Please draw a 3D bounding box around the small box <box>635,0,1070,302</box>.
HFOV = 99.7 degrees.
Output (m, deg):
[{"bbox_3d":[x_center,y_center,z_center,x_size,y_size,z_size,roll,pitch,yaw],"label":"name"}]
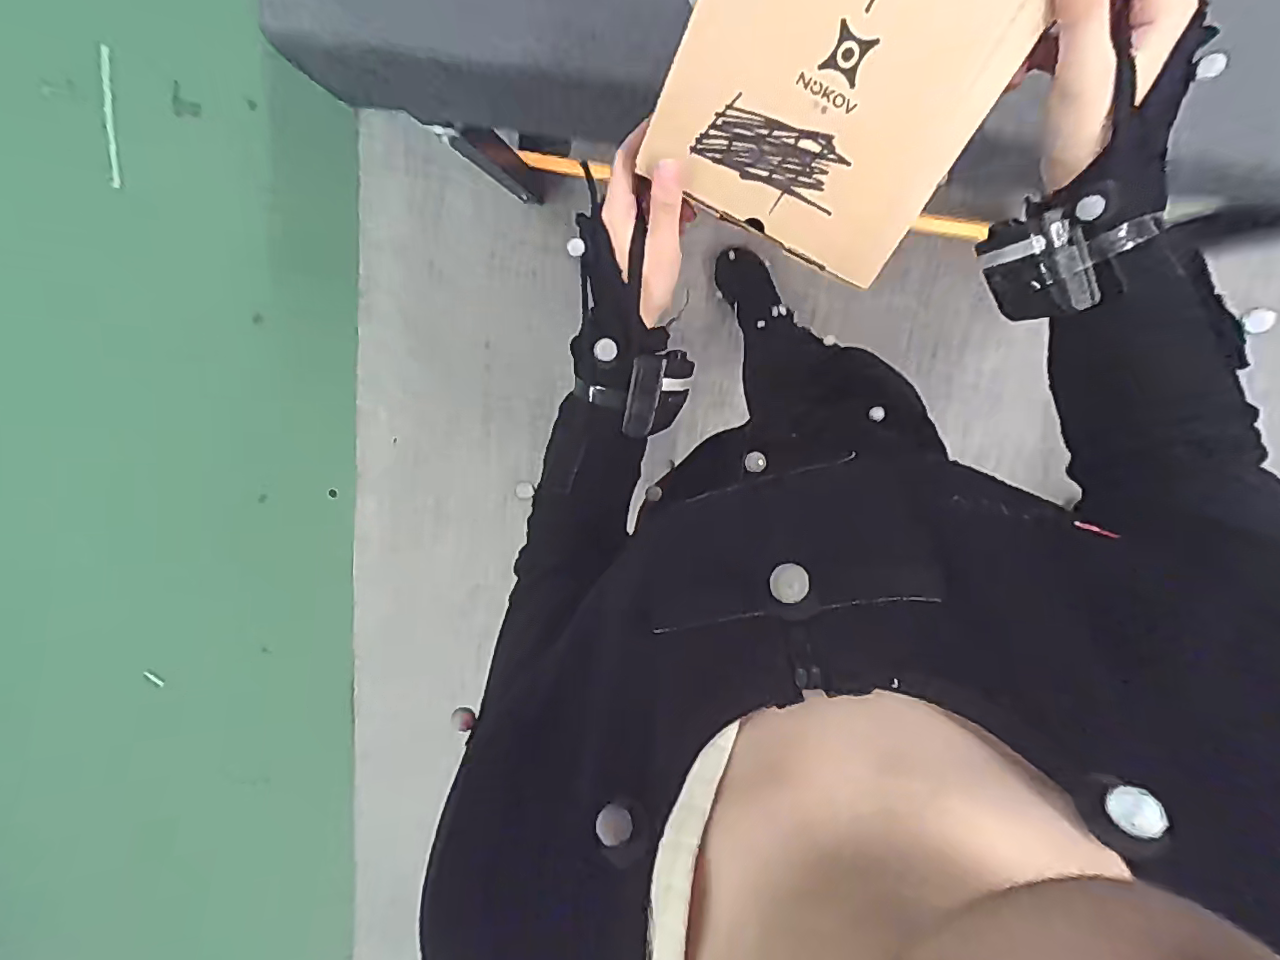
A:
[{"bbox_3d":[0.116,-0.251,0.357,0.168,0.176,0.179,25,122,-5],"label":"small box"}]
